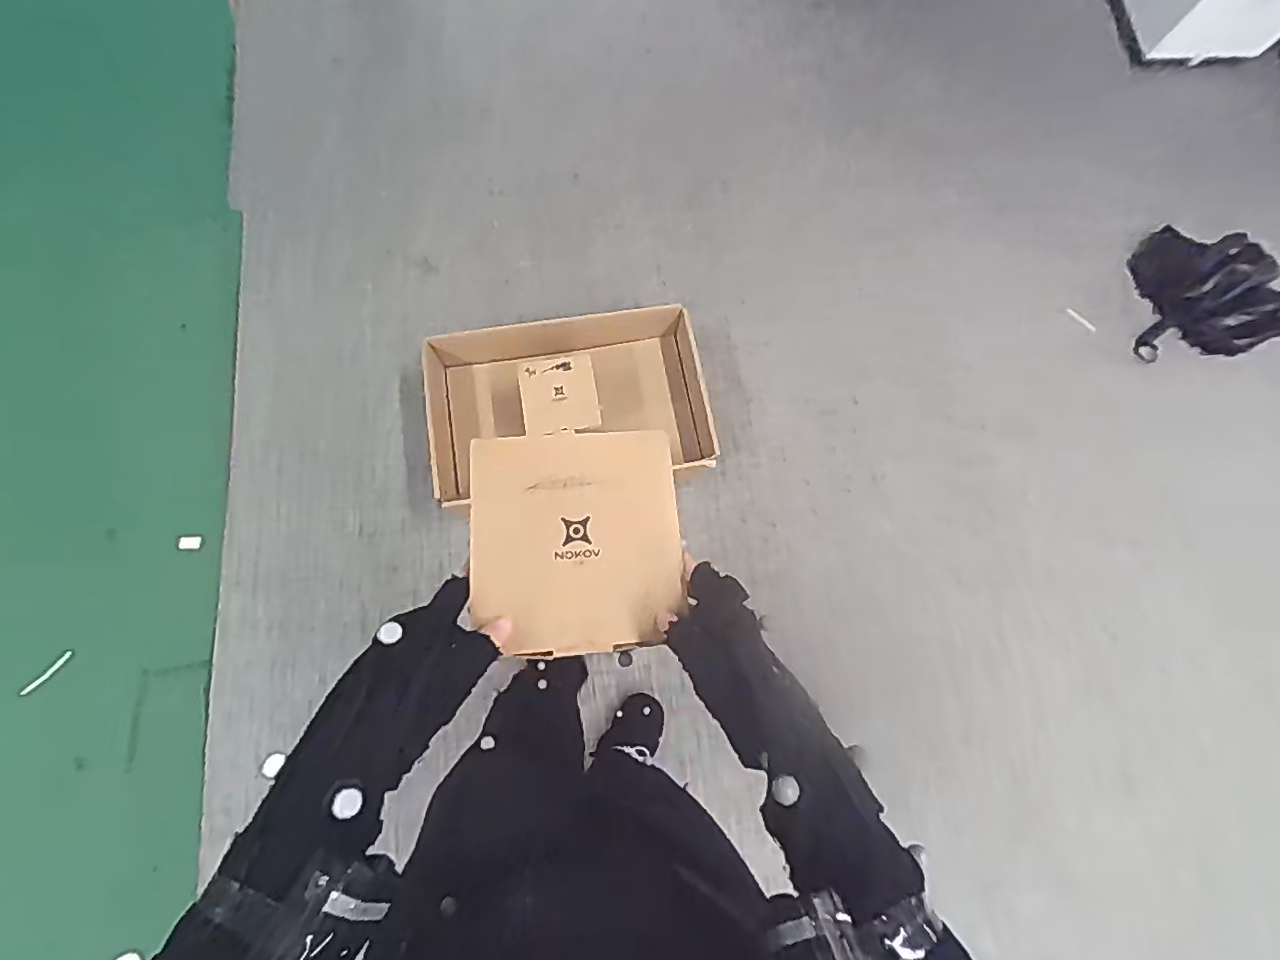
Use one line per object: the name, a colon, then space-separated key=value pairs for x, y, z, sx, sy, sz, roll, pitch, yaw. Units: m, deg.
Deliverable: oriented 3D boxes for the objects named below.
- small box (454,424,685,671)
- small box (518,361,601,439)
small box: x=-0.063 y=0.067 z=0.498 sx=0.168 sy=0.176 sz=0.179 roll=-8 pitch=74 yaw=-7
small box: x=-0.180 y=-0.153 z=1.264 sx=0.168 sy=0.176 sz=0.179 roll=-9 pitch=77 yaw=-5
